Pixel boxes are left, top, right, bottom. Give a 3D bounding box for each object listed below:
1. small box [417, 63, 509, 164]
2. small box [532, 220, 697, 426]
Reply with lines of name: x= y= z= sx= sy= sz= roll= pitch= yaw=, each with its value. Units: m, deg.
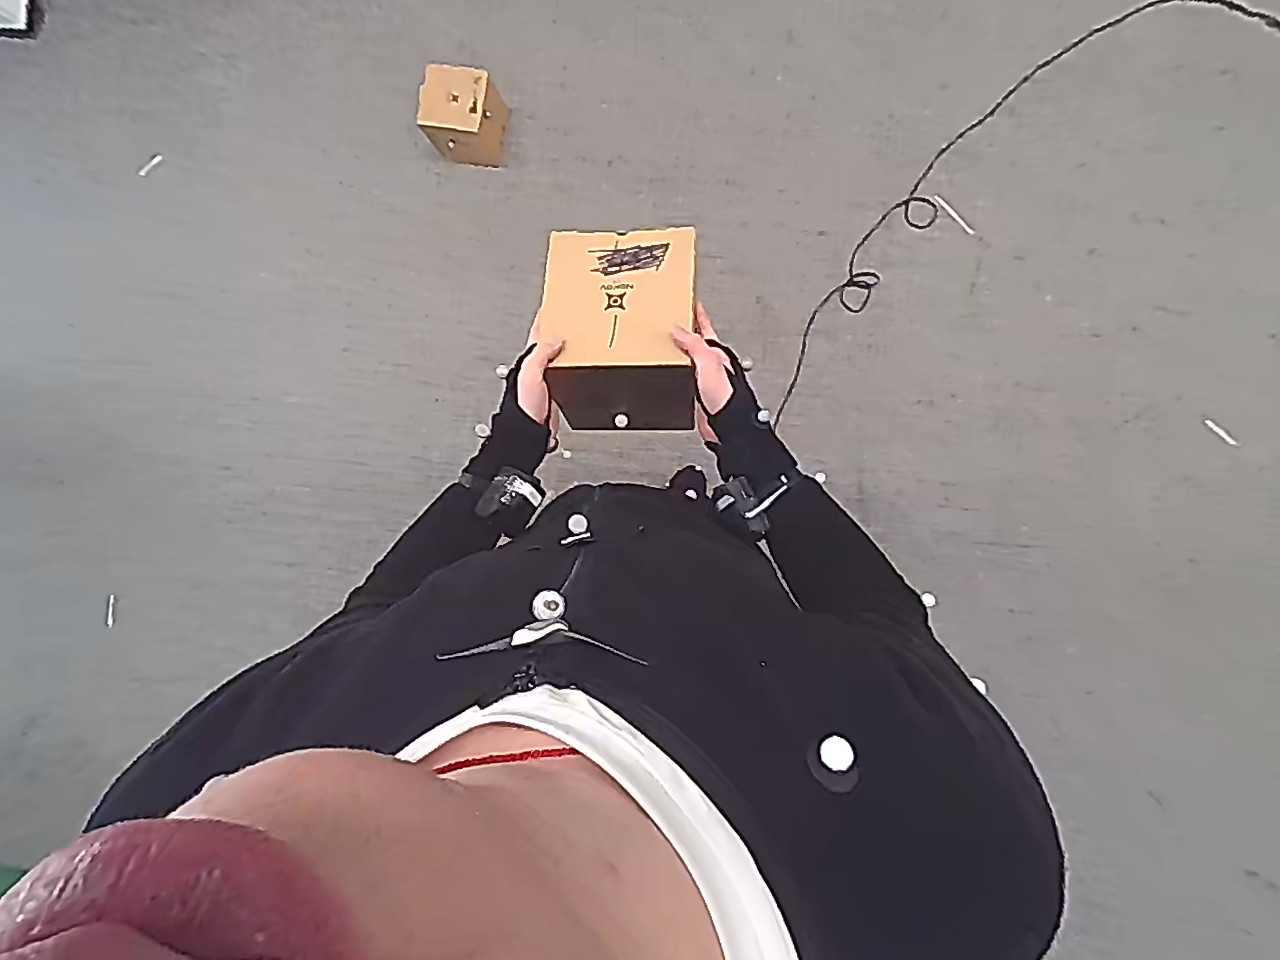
small box: x=-0.490 y=-1.018 z=1.515 sx=0.179 sy=0.176 sz=0.168 roll=11 pitch=91 yaw=6
small box: x=-0.017 y=-0.180 z=0.652 sx=0.168 sy=0.176 sz=0.179 roll=1 pitch=71 yaw=8
